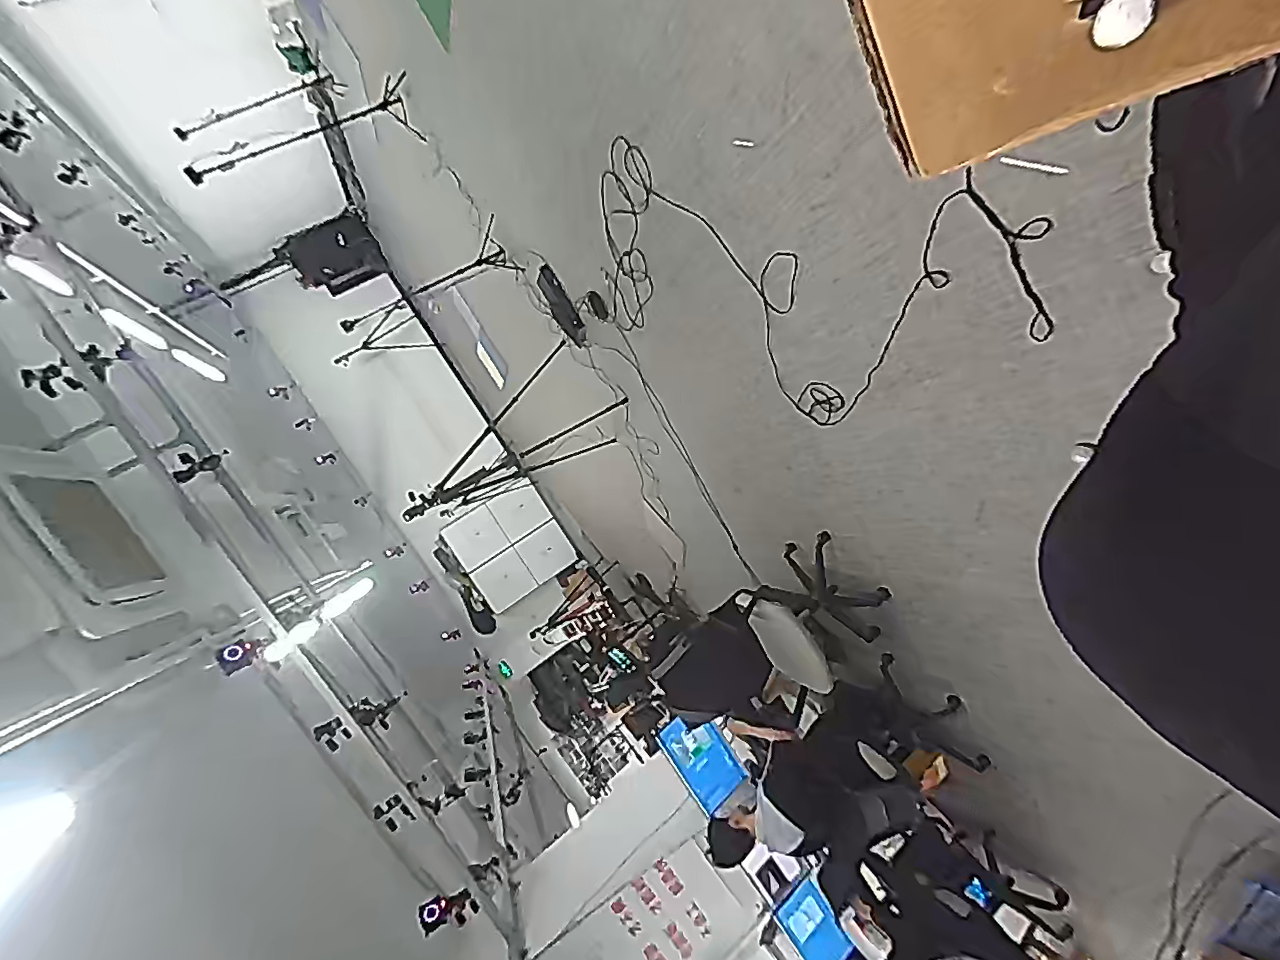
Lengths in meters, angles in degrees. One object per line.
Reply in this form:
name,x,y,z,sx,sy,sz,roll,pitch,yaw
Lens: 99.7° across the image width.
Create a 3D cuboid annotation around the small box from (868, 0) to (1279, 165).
small box,0.158,-0.241,0.158,0.176,0.179,0.168,-7,86,35
